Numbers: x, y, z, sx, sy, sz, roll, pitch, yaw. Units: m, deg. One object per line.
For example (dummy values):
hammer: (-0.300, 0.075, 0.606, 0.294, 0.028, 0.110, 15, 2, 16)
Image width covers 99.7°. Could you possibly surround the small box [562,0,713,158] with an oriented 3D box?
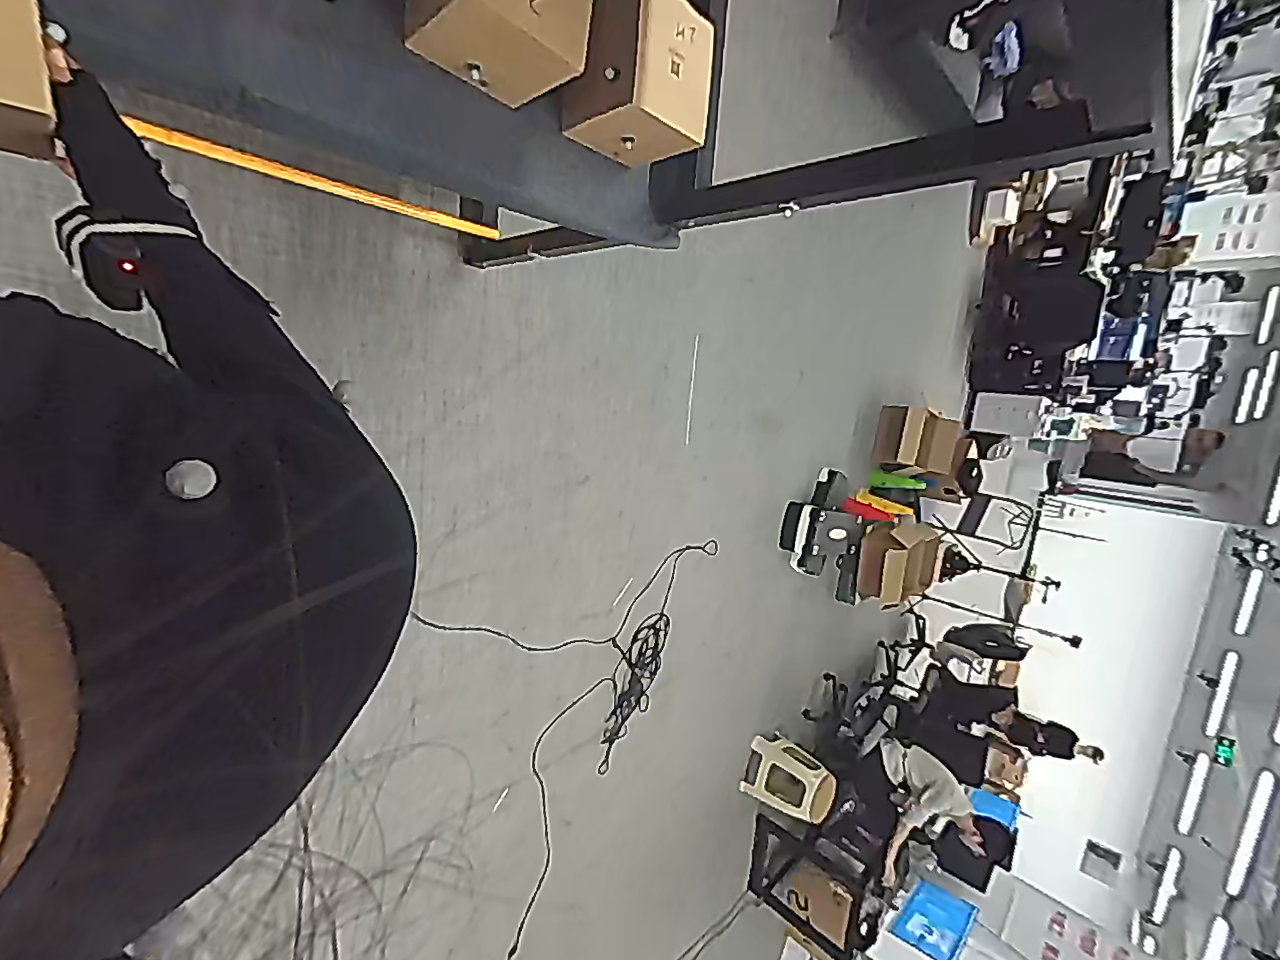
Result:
small box: (-0.008, -0.642, 0.856, 0.168, 0.176, 0.179, -6, 104, -46)
